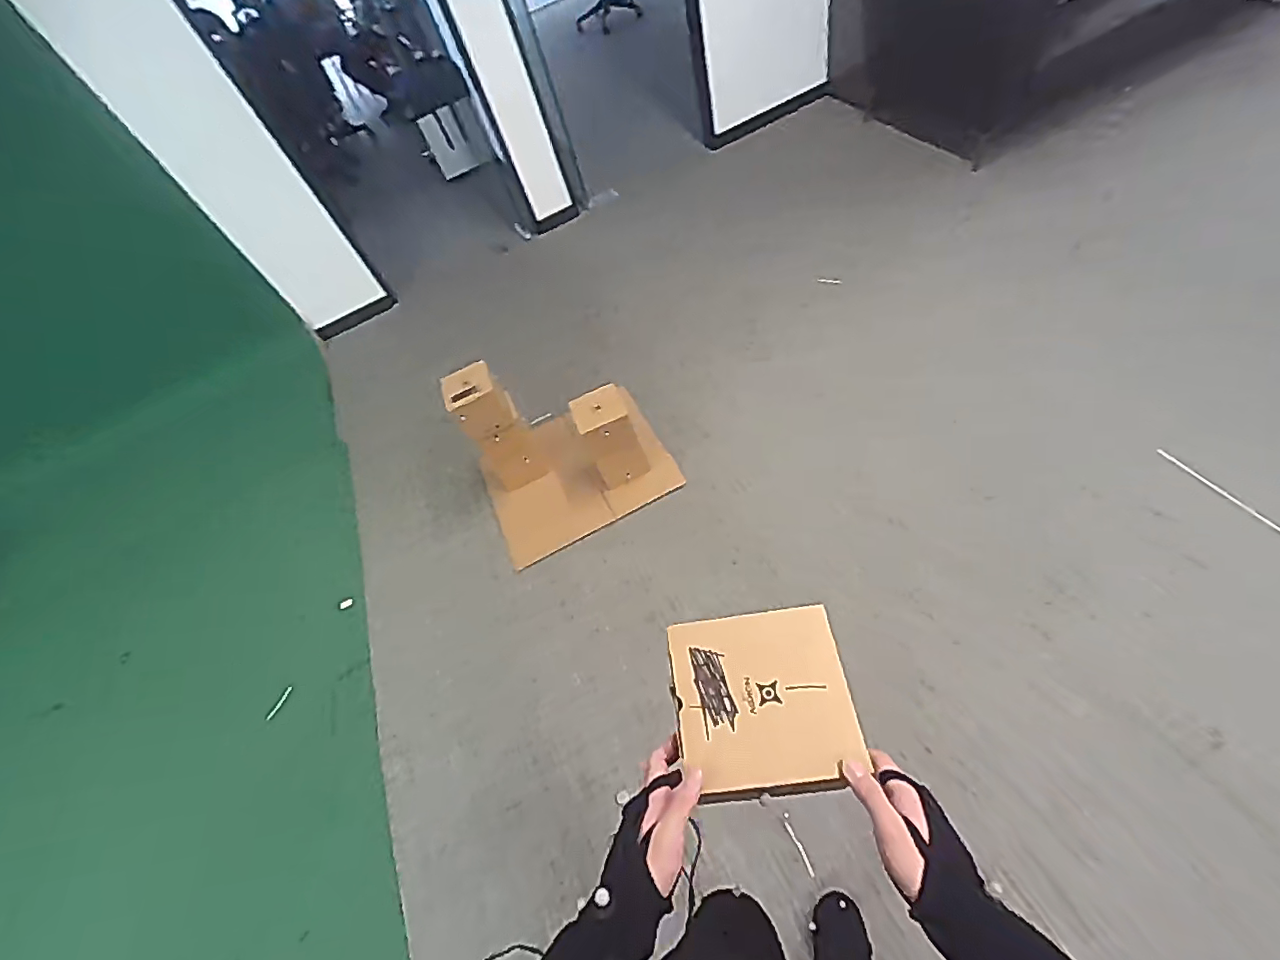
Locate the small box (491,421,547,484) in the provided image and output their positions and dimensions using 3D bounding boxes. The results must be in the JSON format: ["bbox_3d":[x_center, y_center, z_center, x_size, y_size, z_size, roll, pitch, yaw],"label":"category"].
[{"bbox_3d":[-0.477,-0.117,2.112,0.179,0.176,0.168,-26,53,-2],"label":"small box"}]

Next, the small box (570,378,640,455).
[{"bbox_3d":[-0.119,-0.214,1.873,0.179,0.176,0.168,-23,54,0],"label":"small box"}]

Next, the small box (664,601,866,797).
[{"bbox_3d":[0.130,0.254,0.612,0.179,0.176,0.168,-9,56,4],"label":"small box"}]

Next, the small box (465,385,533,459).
[{"bbox_3d":[-0.509,-0.209,1.983,0.179,0.176,0.168,-27,54,-2],"label":"small box"}]

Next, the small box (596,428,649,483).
[{"bbox_3d":[-0.078,-0.122,2.002,0.179,0.176,0.168,-25,53,-1],"label":"small box"}]
